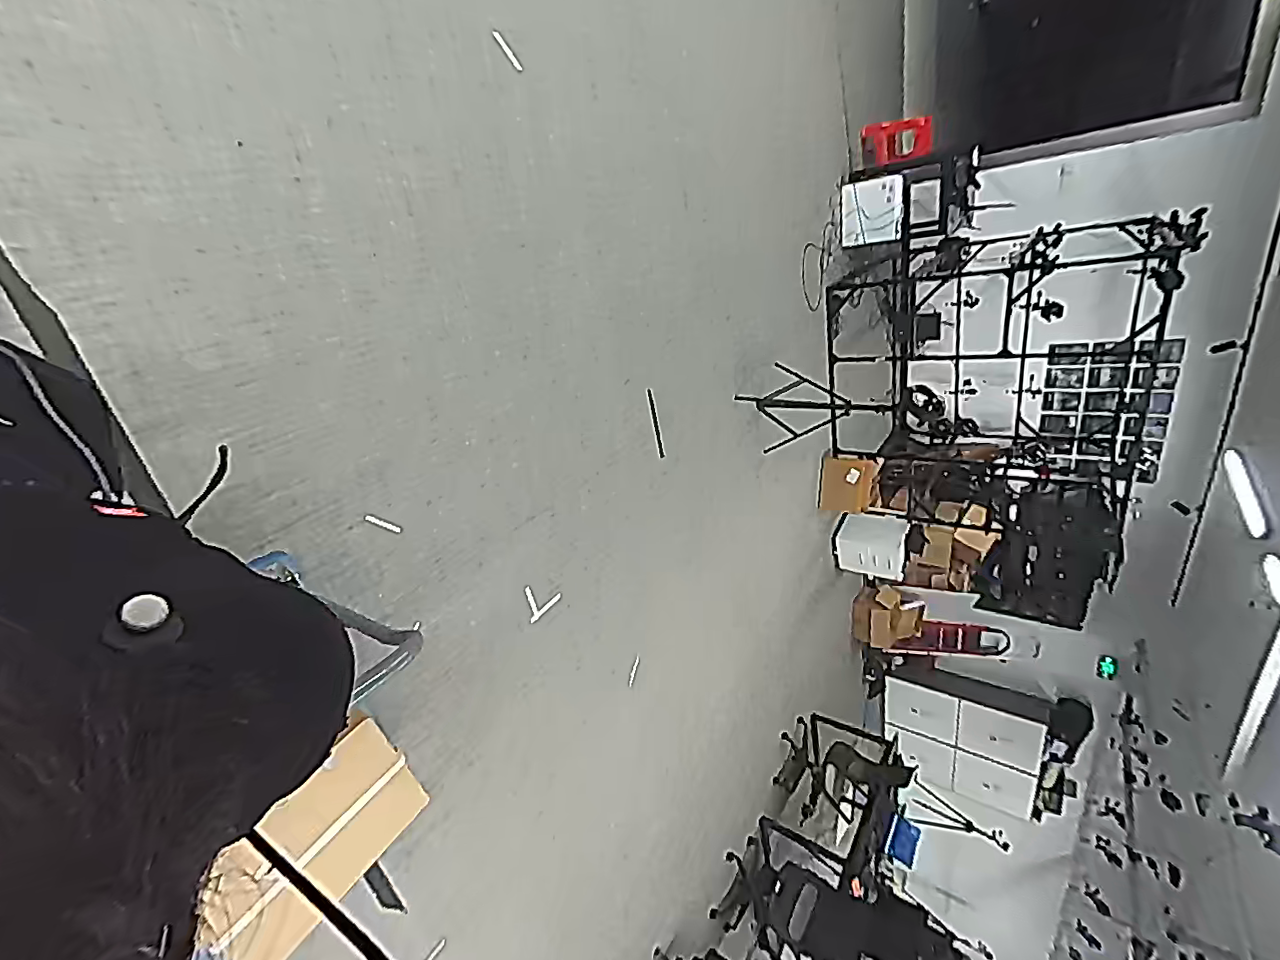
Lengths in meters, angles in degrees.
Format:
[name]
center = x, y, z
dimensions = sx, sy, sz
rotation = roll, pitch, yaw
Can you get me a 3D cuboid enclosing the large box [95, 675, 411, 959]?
[large box]
center = -0.795, 0.707, 1.152
dimensions = 0.408, 0.320, 0.320
rotation = -42, 127, -41
